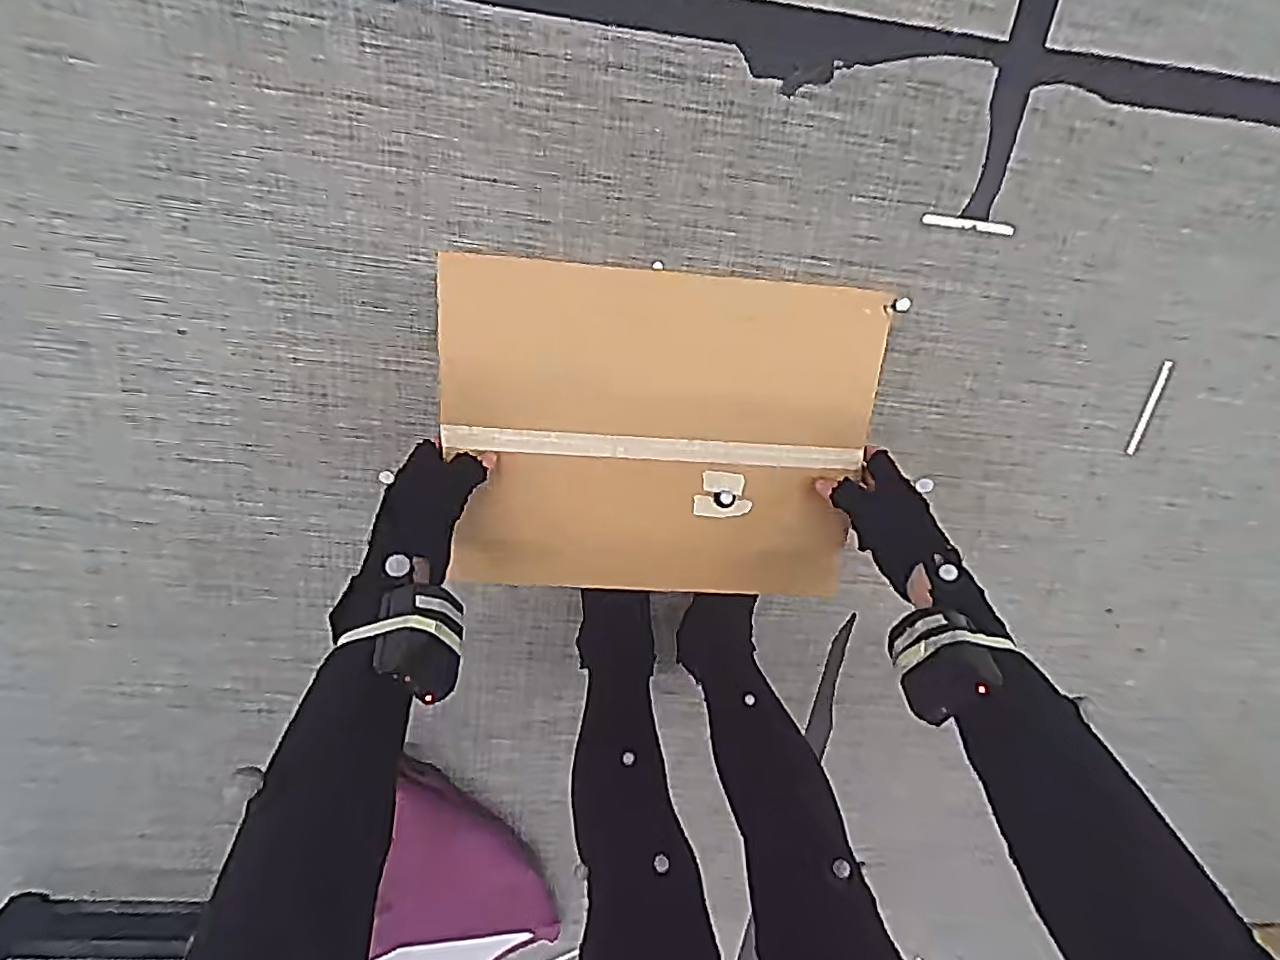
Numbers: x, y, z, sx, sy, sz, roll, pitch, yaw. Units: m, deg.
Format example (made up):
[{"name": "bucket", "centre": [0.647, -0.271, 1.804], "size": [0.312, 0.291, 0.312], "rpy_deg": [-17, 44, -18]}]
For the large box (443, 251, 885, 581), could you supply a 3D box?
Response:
[{"name": "large box", "centre": [0.008, -0.086, 0.662], "size": [0.408, 0.320, 0.320], "rpy_deg": [3, 108, -5]}]
